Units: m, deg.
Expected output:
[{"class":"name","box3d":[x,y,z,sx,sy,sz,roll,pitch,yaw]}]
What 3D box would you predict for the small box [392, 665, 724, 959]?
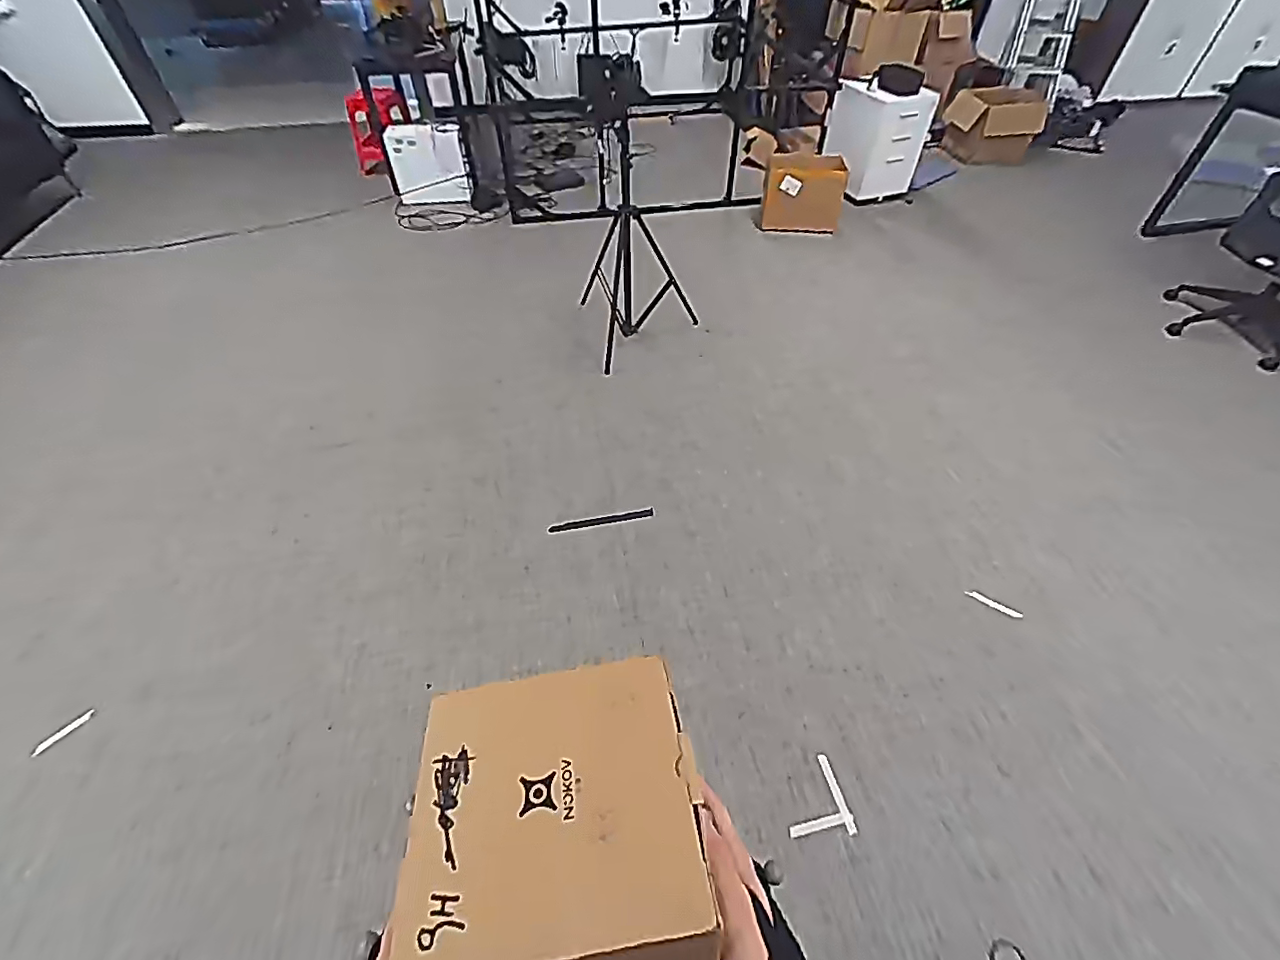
[{"class":"small box","box3d":[-0.048,0.261,0.387,0.179,0.176,0.168,-7,38,-4]}]
